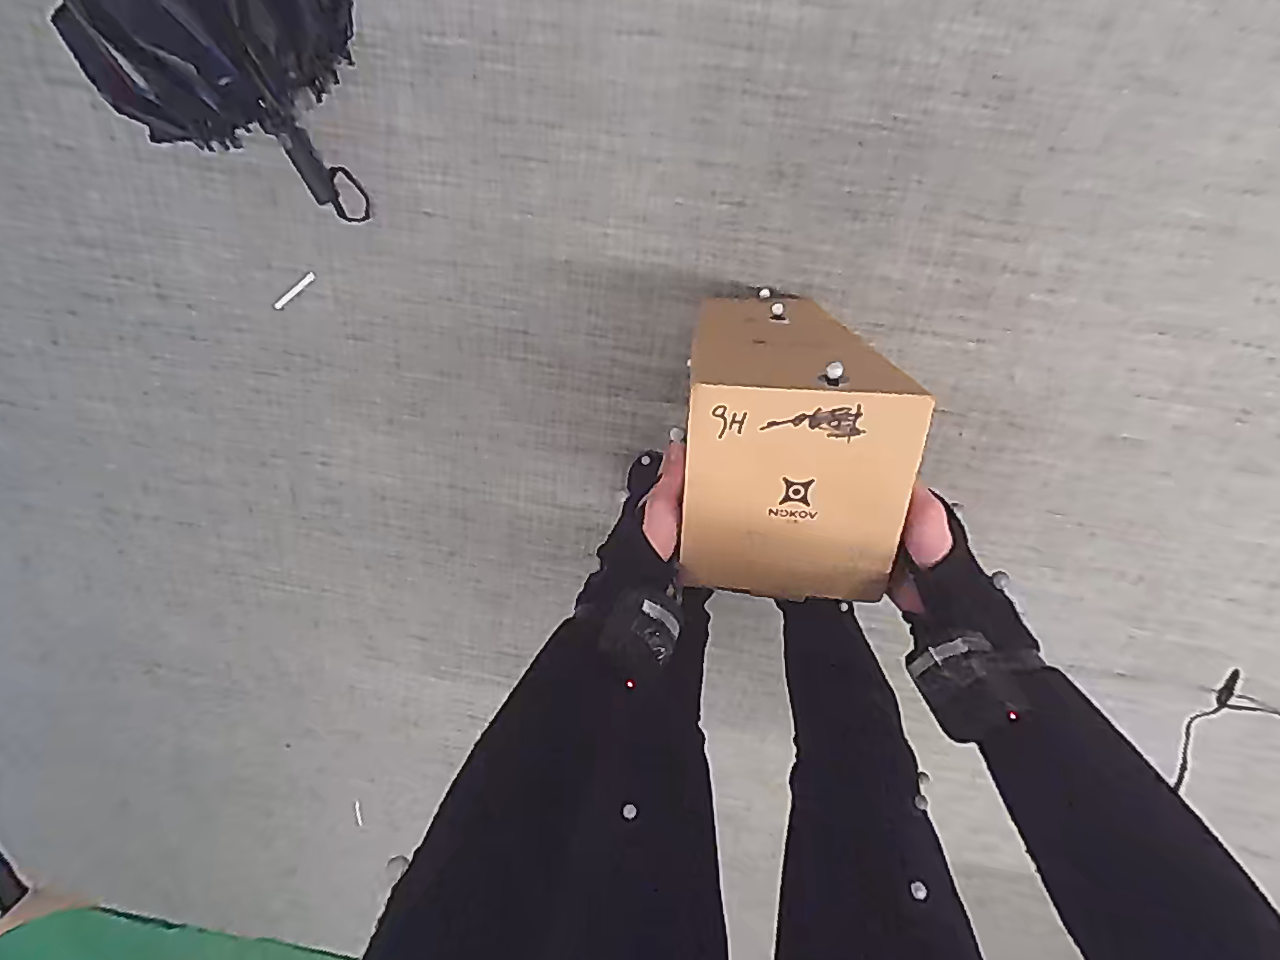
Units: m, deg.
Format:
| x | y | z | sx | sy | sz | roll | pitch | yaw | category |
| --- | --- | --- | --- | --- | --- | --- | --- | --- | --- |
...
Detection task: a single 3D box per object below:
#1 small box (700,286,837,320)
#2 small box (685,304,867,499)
| x | y | z | sx | sy | sz | roll | pitch | yaw | category |
| --- | --- | --- | --- | --- | --- | --- | --- | --- | --- |
| 0.165 | -0.168 | 0.760 | 0.168 | 0.176 | 0.179 | 4 | 117 | 6 | small box |
| 0.141 | -0.096 | 0.618 | 0.168 | 0.176 | 0.179 | 3 | 116 | 6 | small box |
